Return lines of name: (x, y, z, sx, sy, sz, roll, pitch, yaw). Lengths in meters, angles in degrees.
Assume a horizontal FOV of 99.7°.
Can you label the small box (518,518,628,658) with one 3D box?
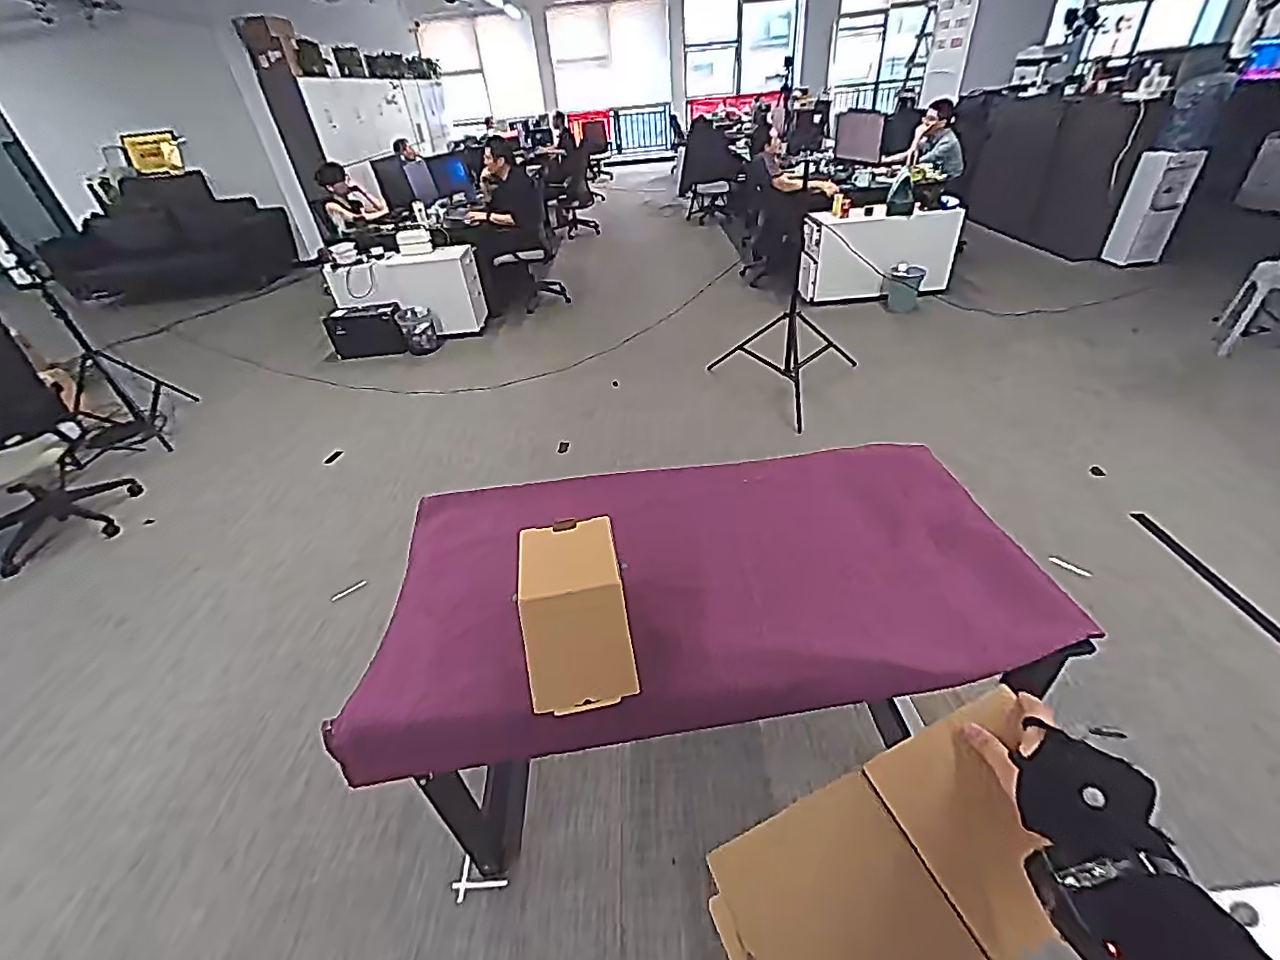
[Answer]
small box: (-0.118, 0.197, 0.968, 0.168, 0.176, 0.179, -9, 35, -5)
